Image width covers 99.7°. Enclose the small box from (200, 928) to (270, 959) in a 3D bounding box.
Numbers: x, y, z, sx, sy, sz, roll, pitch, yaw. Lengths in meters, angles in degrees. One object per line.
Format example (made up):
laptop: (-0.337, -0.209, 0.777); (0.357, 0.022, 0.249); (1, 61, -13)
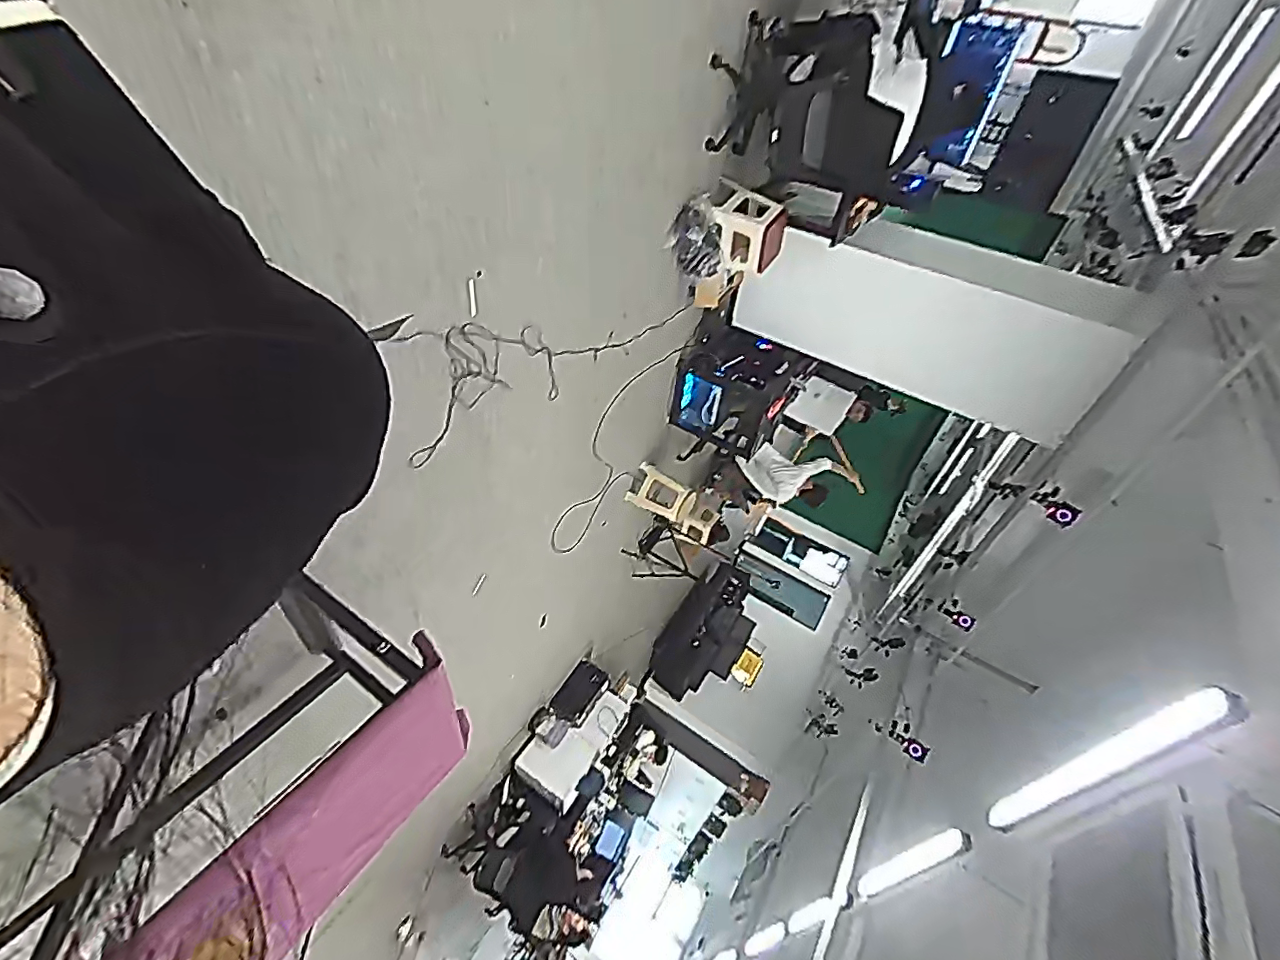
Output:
small box: (-0.929, 1.159, 1.208); (0.179, 0.176, 0.168); (-42, 151, -43)
